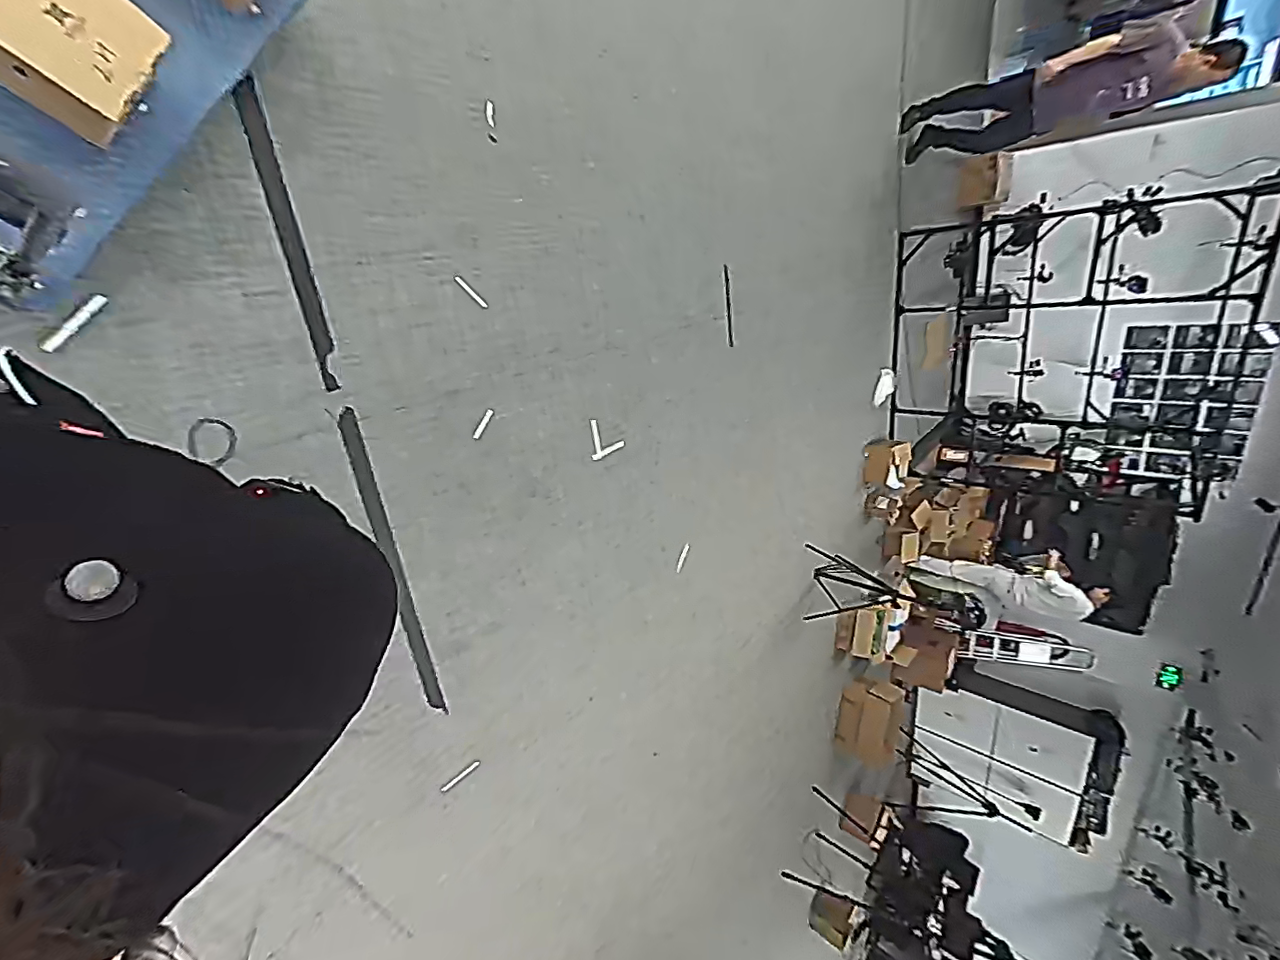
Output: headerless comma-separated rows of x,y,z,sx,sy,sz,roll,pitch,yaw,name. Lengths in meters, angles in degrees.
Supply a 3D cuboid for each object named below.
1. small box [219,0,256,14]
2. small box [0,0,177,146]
-0.680,-0.941,0.899,0.168,0.176,0.179,42,69,-46,small box
-0.838,-0.634,0.792,0.179,0.176,0.168,34,73,-48,small box
